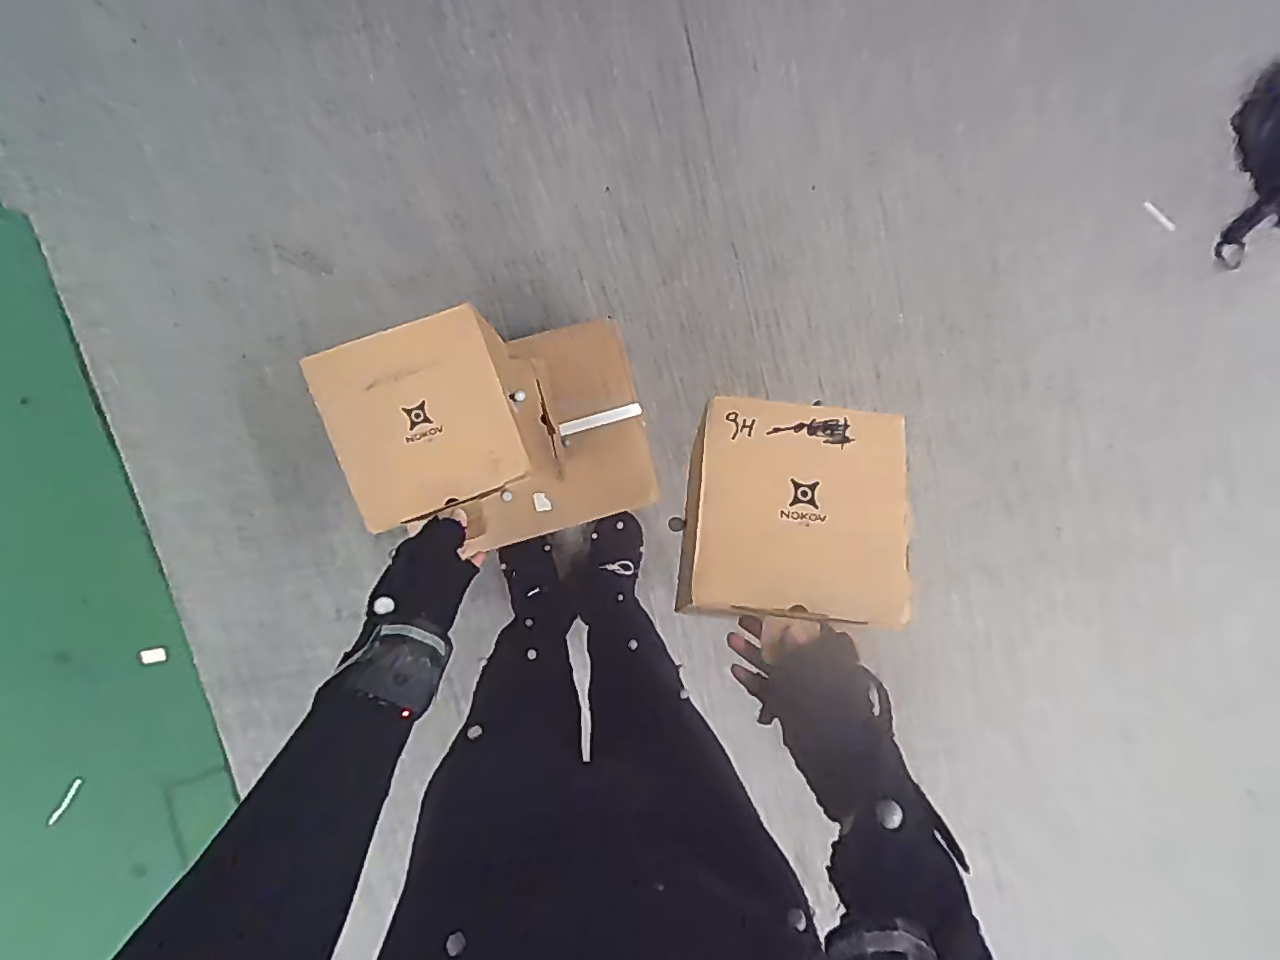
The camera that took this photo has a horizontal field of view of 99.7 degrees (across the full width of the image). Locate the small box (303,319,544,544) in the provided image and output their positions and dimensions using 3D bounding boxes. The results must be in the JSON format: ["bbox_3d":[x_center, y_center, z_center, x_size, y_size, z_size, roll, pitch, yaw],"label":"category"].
[{"bbox_3d":[-0.215,-0.051,0.594,0.168,0.176,0.179,-22,94,-3],"label":"small box"}]

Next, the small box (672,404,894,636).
[{"bbox_3d":[0.122,0.047,0.513,0.168,0.176,0.179,6,75,1],"label":"small box"}]

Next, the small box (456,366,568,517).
[{"bbox_3d":[-0.209,-0.063,0.770,0.179,0.176,0.168,-17,103,-3],"label":"small box"}]
